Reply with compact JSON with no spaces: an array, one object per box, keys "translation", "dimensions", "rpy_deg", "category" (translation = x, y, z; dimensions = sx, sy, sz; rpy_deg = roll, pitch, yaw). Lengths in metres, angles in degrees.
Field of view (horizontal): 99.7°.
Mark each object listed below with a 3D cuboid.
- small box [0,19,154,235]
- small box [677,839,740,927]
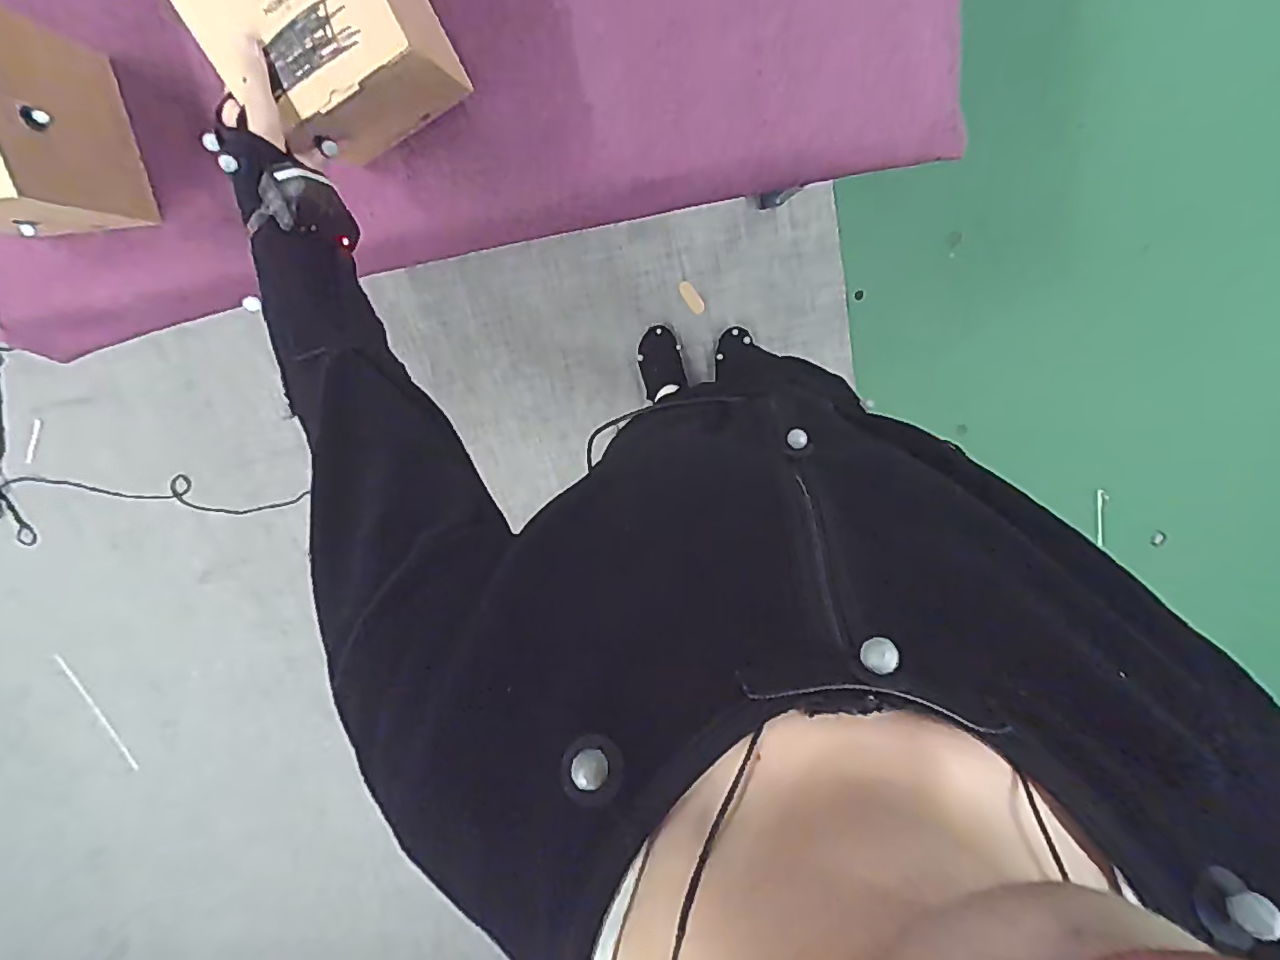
[{"translation":[-0.662,-0.355,0.553],"dimensions":[0.168,0.176,0.179],"rpy_deg":[-5,107,0],"category":"small box"},{"translation":[0.227,1.356,1.834],"dimensions":[0.168,0.176,0.179],"rpy_deg":[-15,107,4],"category":"small box"}]
